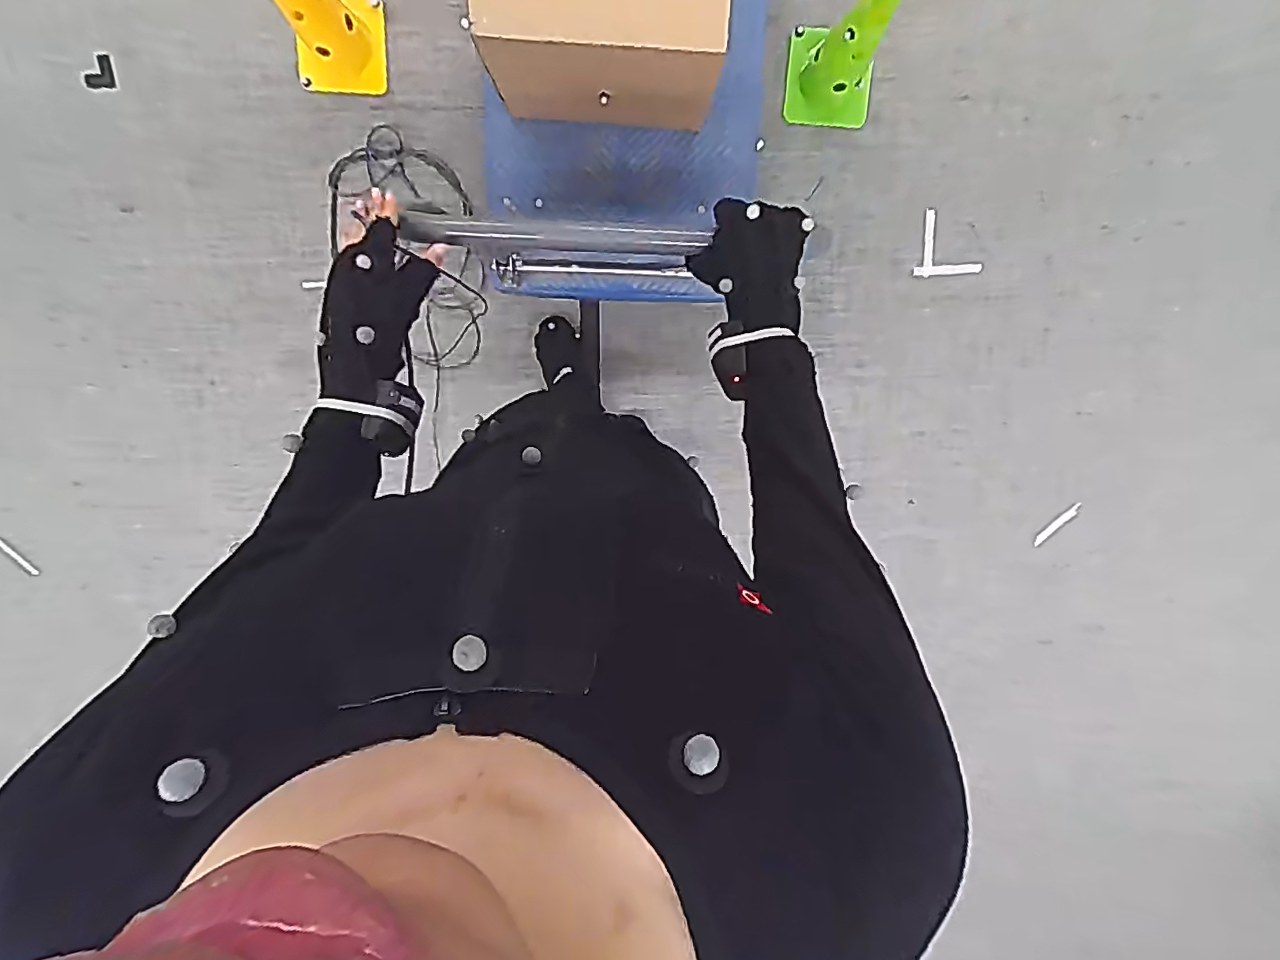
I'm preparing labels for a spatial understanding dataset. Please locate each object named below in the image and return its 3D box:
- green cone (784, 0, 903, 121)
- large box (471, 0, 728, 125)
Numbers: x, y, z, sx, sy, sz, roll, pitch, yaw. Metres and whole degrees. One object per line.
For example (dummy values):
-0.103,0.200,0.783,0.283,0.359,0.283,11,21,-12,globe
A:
0.451,-0.924,1.104,0.202,0.368,0.200,3,103,-3,green cone
-0.059,-0.865,0.960,0.408,0.320,0.320,3,103,-1,large box
